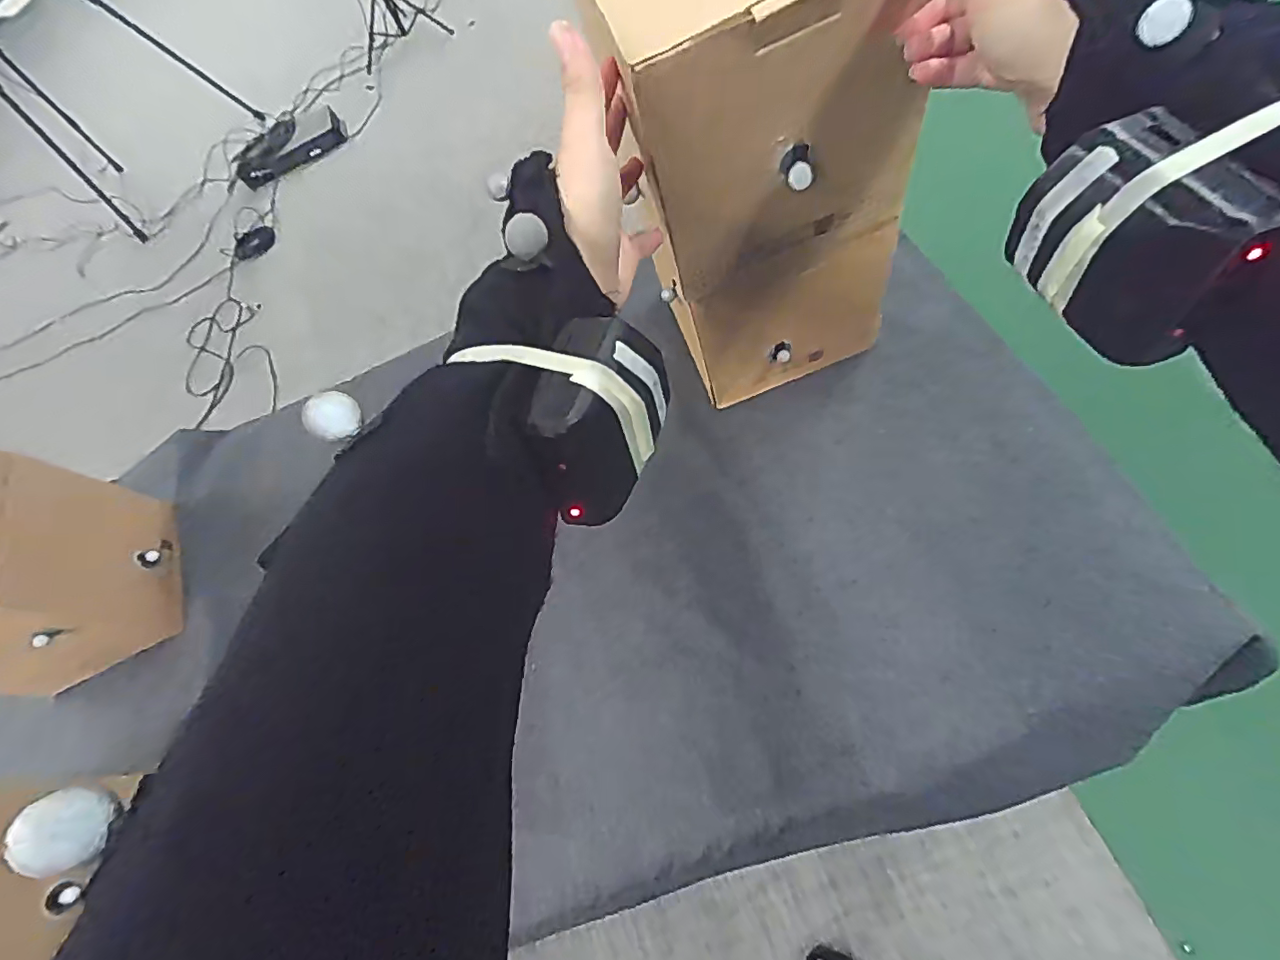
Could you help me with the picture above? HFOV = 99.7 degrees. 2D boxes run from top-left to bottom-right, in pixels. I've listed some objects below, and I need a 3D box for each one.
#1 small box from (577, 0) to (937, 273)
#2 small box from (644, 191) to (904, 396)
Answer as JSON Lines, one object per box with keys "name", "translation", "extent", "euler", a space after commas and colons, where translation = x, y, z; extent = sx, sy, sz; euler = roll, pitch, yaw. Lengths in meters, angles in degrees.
{"name": "small box", "translation": [0.067, -0.264, 0.349], "extent": [0.168, 0.176, 0.179], "euler": [-22, 66, 6]}
{"name": "small box", "translation": [0.108, -0.210, 0.498], "extent": [0.168, 0.176, 0.179], "euler": [-22, 65, 6]}
